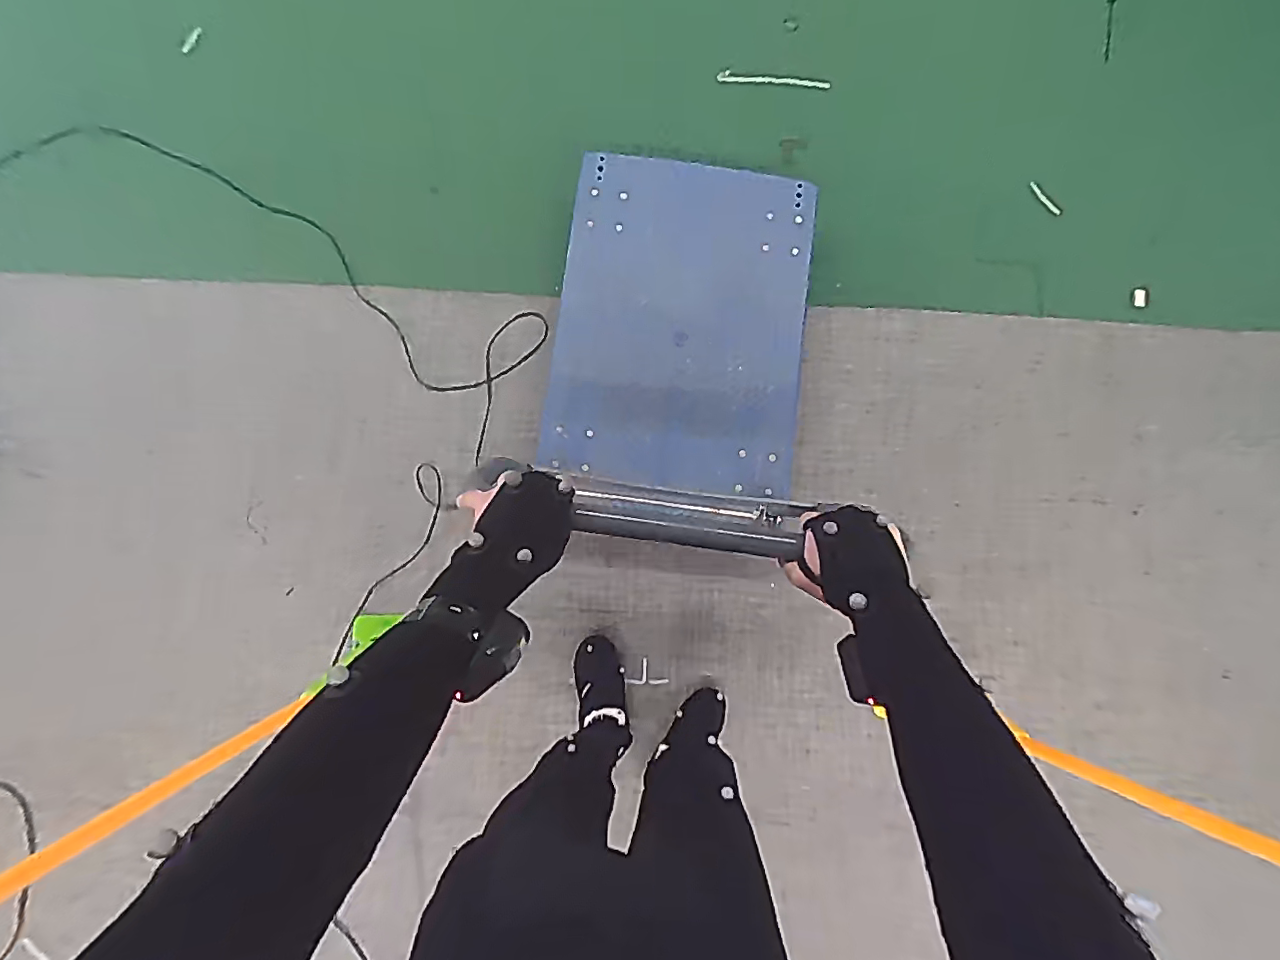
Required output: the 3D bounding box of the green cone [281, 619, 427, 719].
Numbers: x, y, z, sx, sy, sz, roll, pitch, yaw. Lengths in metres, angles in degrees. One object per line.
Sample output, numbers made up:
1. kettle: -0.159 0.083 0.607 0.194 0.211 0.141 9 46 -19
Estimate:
1. green cone: -0.625 0.426 1.157 0.202 0.368 0.200 -2 84 0
